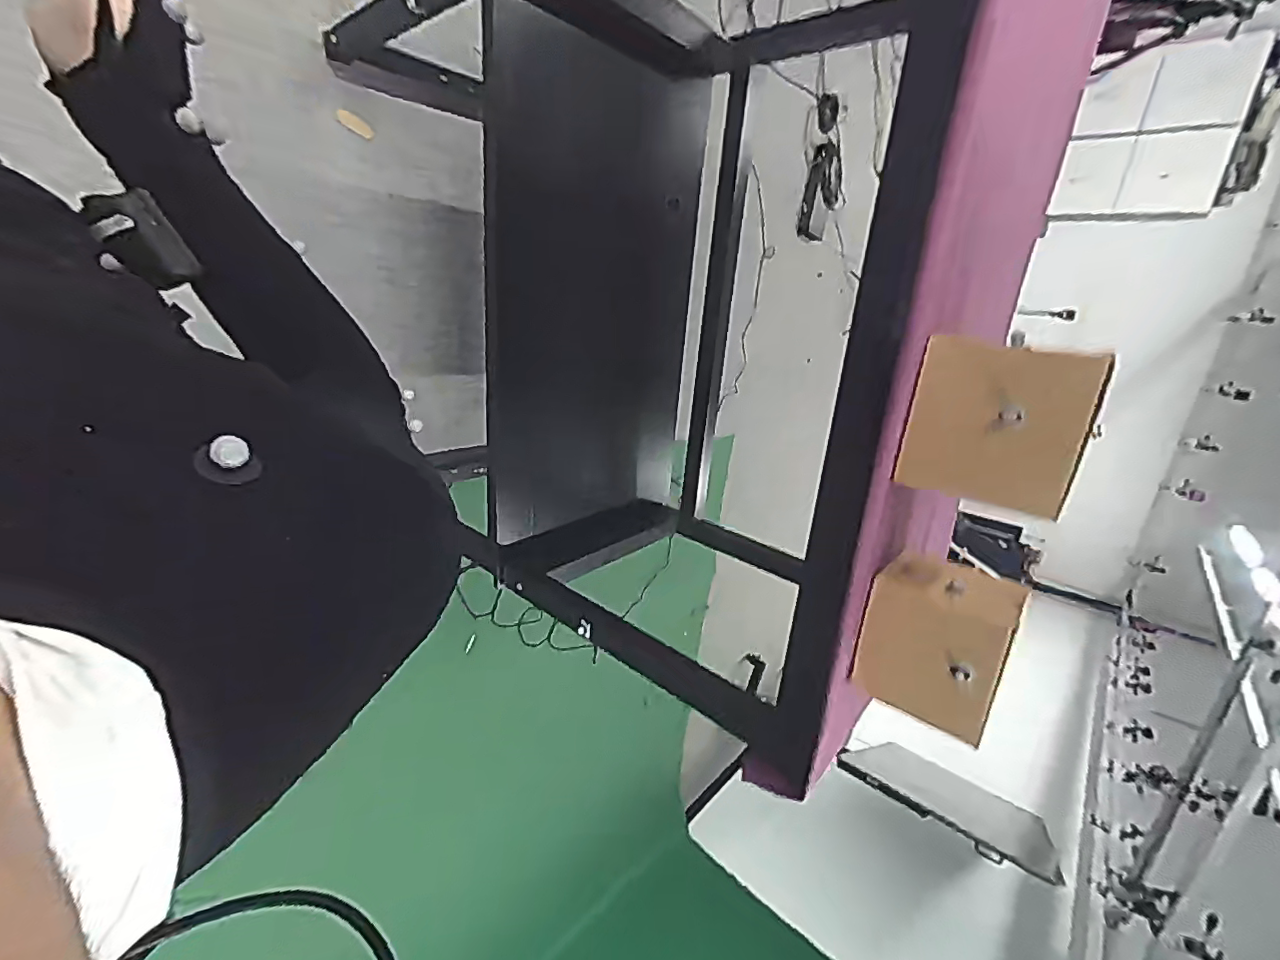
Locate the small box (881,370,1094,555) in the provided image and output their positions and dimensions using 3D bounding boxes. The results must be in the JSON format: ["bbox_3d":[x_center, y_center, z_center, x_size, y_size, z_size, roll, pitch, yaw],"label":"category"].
[{"bbox_3d":[0.406,-0.034,0.645,0.168,0.176,0.179,-12,115,-50],"label":"small box"}]

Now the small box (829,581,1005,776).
[{"bbox_3d":[0.380,0.255,0.752,0.168,0.176,0.179,-10,114,-51],"label":"small box"}]
